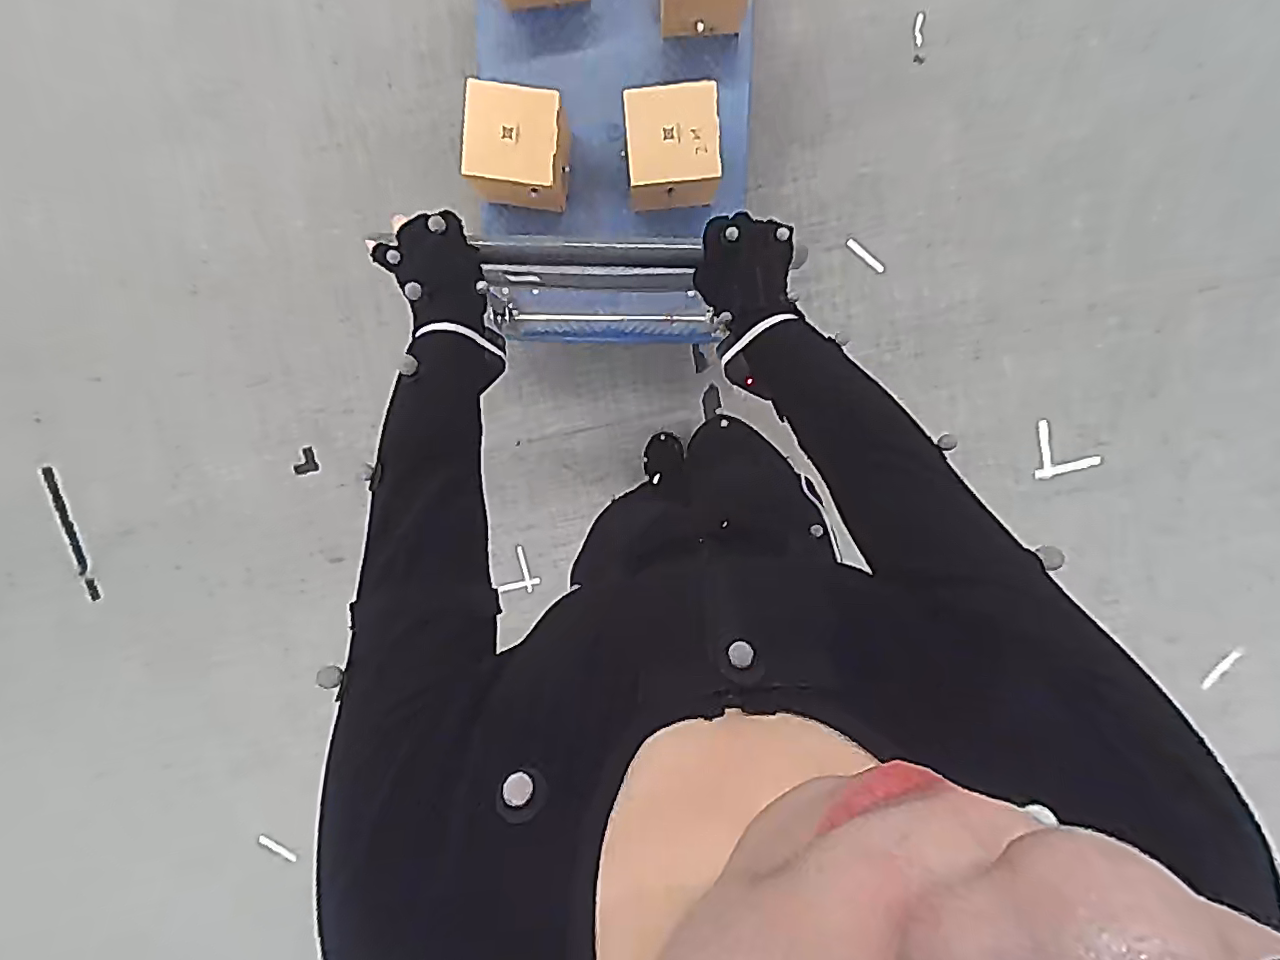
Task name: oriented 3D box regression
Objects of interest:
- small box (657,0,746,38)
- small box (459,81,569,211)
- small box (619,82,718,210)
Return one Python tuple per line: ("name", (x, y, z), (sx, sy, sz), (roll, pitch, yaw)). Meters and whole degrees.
("small box", (0.115, -0.984, 1.019), (0.168, 0.176, 0.179), (-2, 102, 1))
("small box", (-0.247, -0.658, 1.086), (0.179, 0.176, 0.168), (7, 101, -2))
("small box", (0.057, -0.655, 1.083), (0.179, 0.176, 0.168), (-5, 101, 1))
